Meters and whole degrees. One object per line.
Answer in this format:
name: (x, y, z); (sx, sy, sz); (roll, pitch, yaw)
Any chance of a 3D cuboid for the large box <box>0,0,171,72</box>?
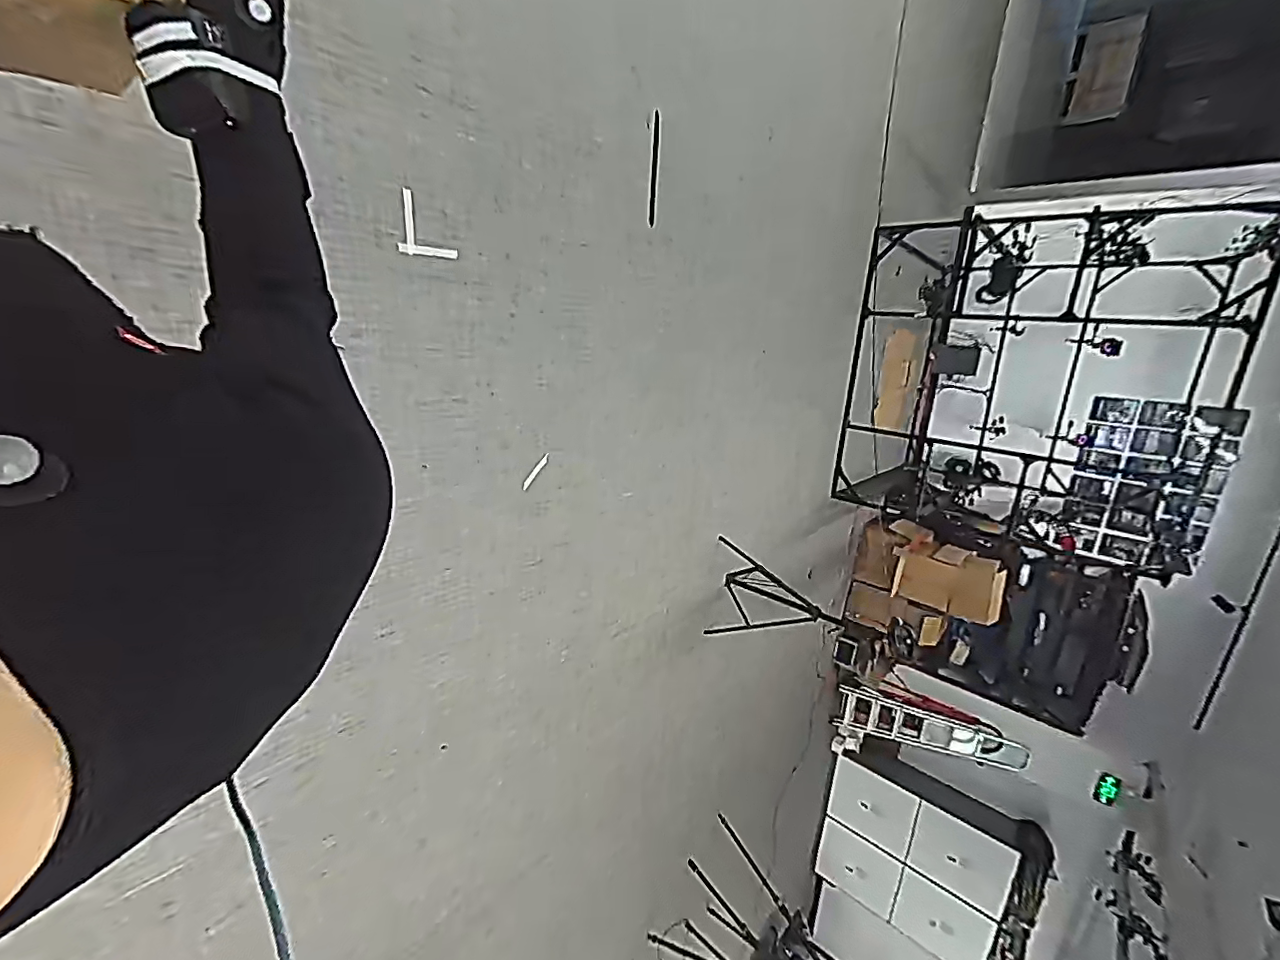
large box: (-0.546, -0.463, 0.262); (0.408, 0.320, 0.320); (-18, 121, -46)
